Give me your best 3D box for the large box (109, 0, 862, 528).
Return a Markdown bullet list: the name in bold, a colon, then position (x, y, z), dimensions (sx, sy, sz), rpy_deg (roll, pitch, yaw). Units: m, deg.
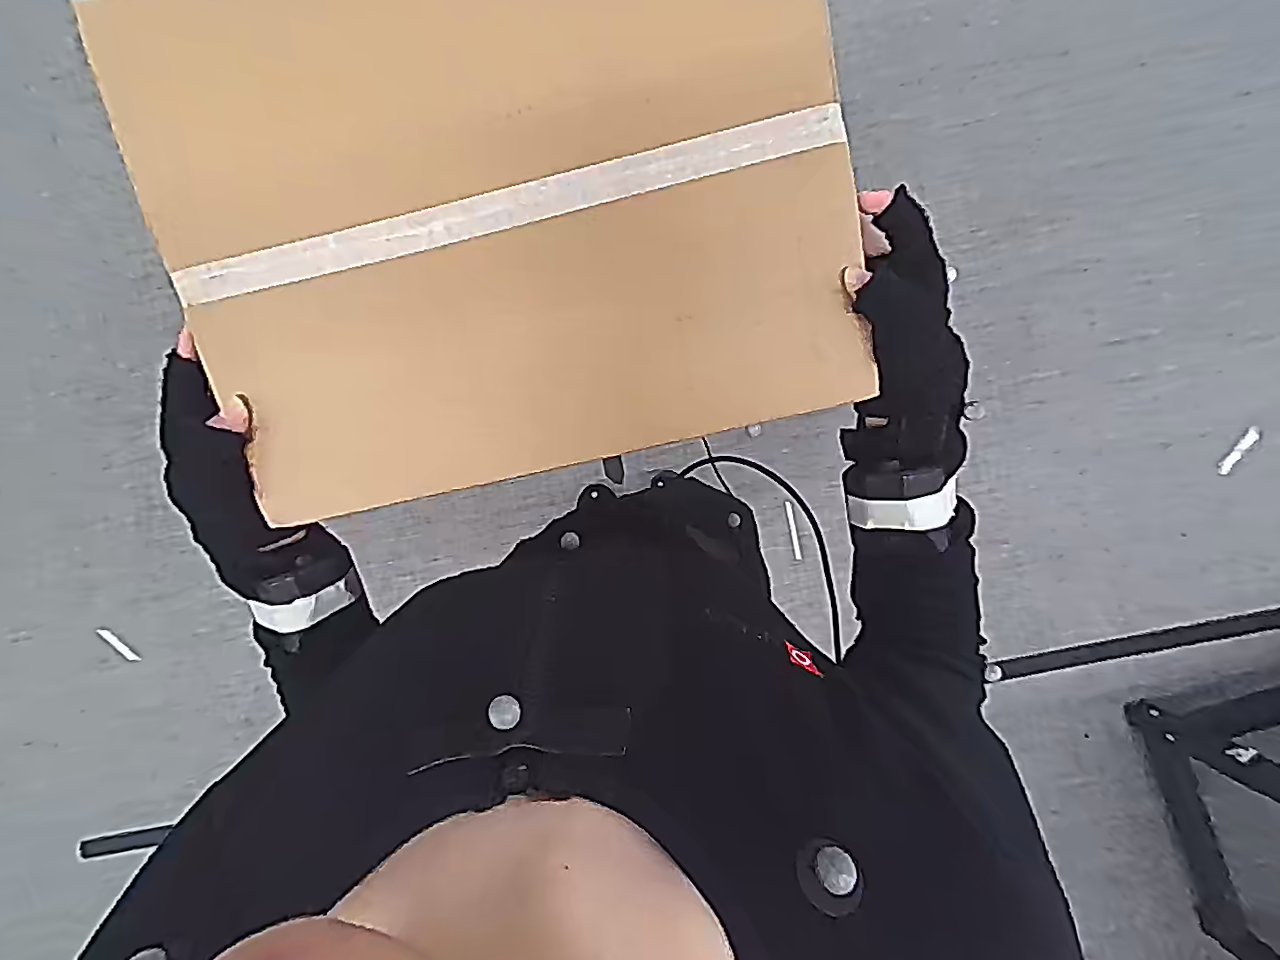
- **large box**: position (-0.079, -0.187, 0.475), dimensions (0.408, 0.320, 0.320), rpy_deg (-12, 101, 4)
